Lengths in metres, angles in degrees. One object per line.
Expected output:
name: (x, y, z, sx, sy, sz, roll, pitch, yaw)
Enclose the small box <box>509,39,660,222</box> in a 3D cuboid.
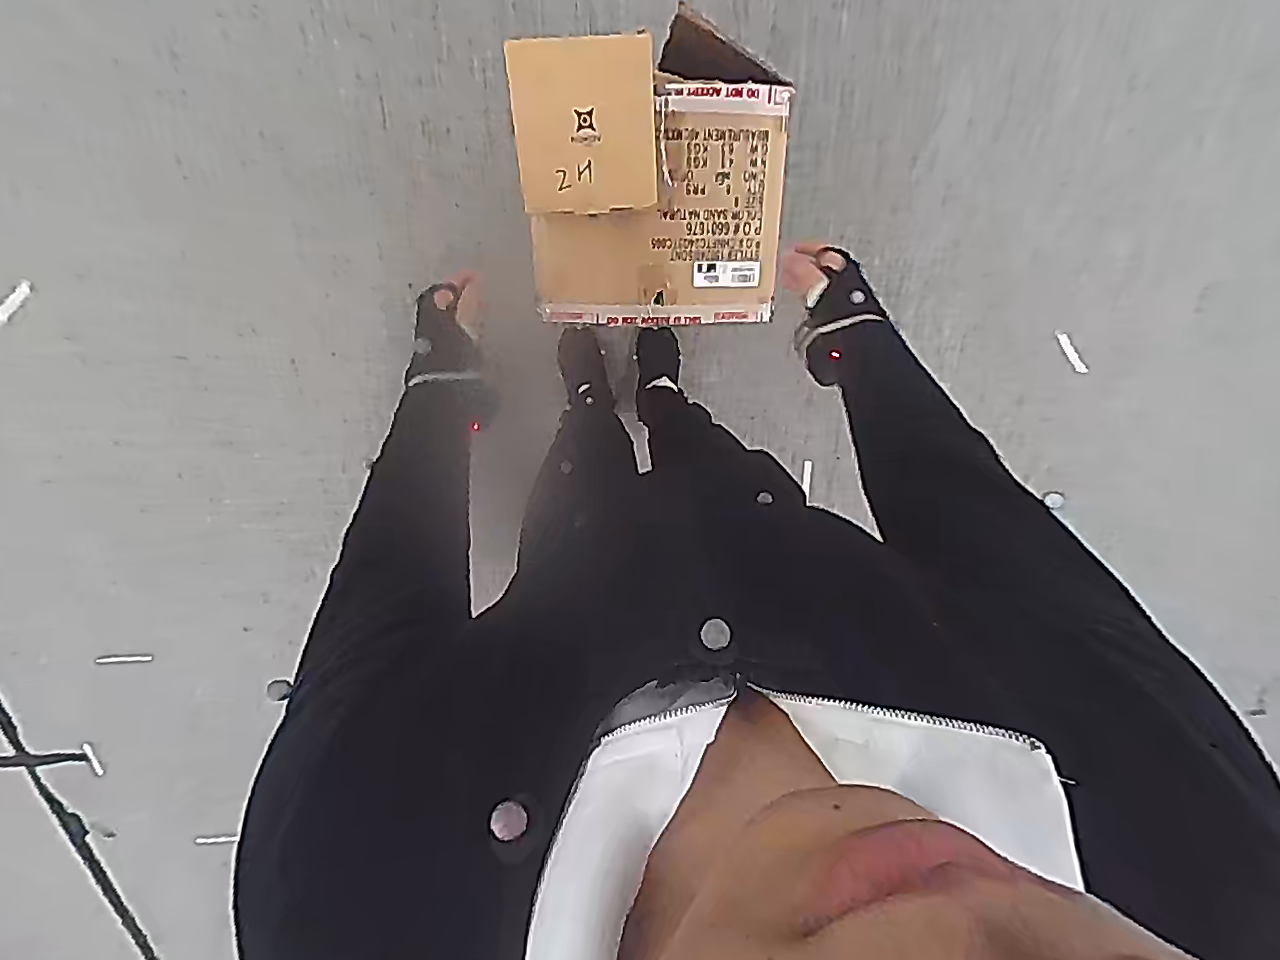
small box: (-0.065, -0.437, 0.703, 0.168, 0.176, 0.179, -4, 116, -1)
